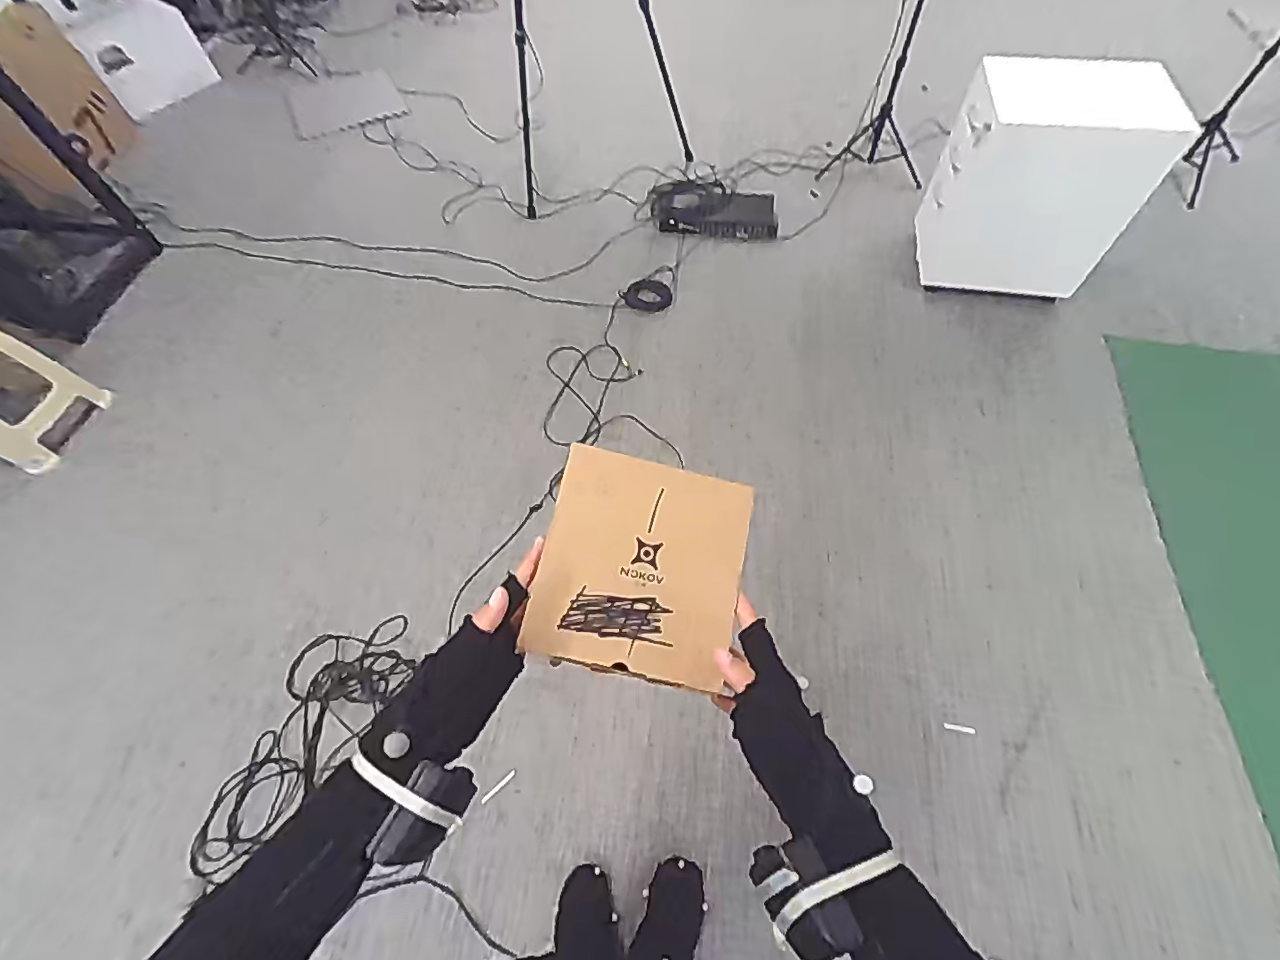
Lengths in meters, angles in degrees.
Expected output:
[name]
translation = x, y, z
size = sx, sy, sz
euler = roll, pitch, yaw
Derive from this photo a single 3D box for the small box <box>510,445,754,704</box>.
[small box]
translation = -0.009, 0.092, 0.507
size = 0.168, 0.176, 0.179
euler = 15, 73, -3
